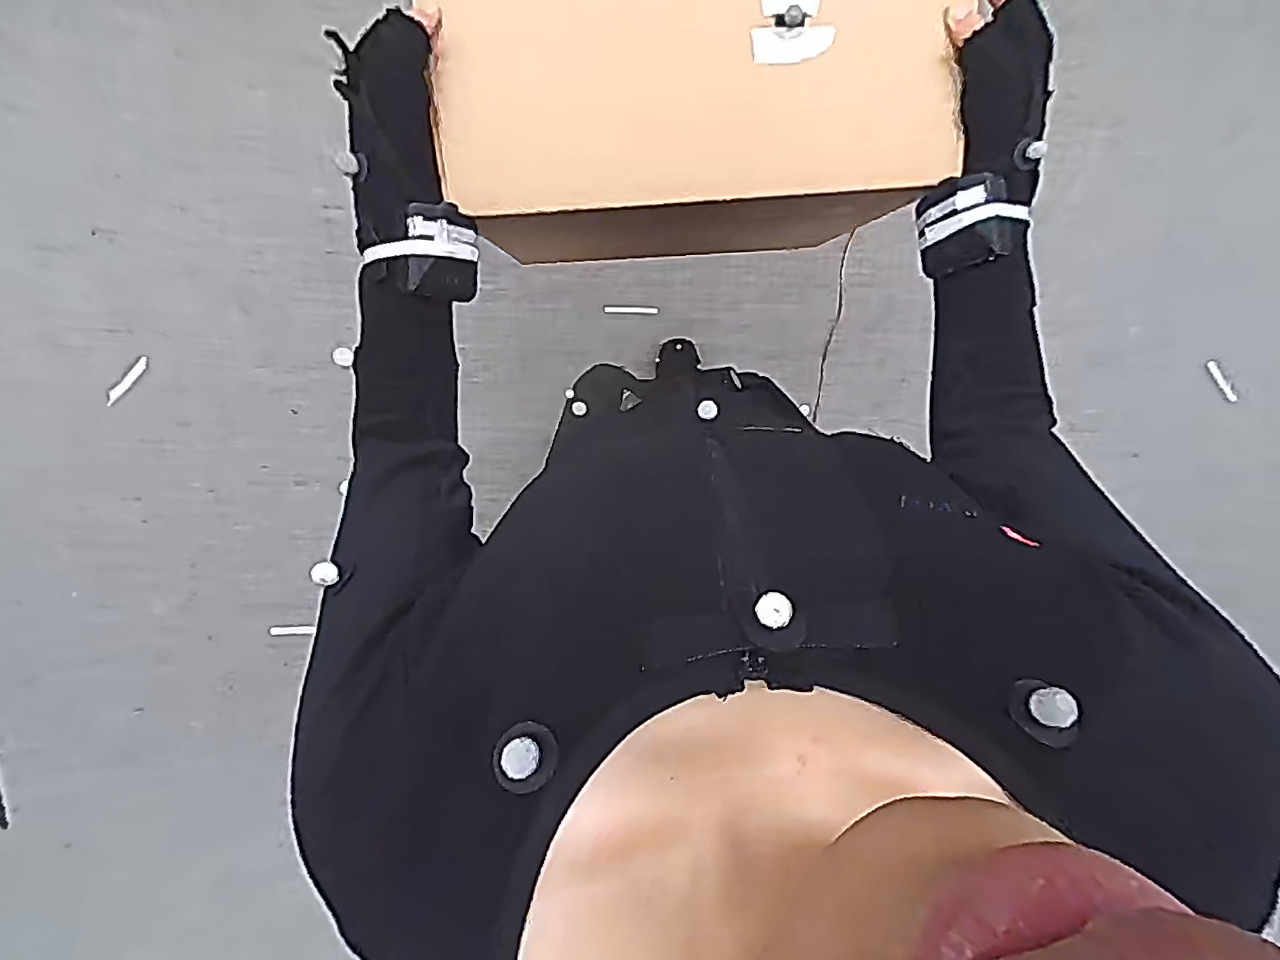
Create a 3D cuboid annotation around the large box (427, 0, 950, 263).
[{"bbox_3d":[0.029,-0.417,0.545,0.408,0.320,0.320,-5,106,-1],"label":"large box"}]
